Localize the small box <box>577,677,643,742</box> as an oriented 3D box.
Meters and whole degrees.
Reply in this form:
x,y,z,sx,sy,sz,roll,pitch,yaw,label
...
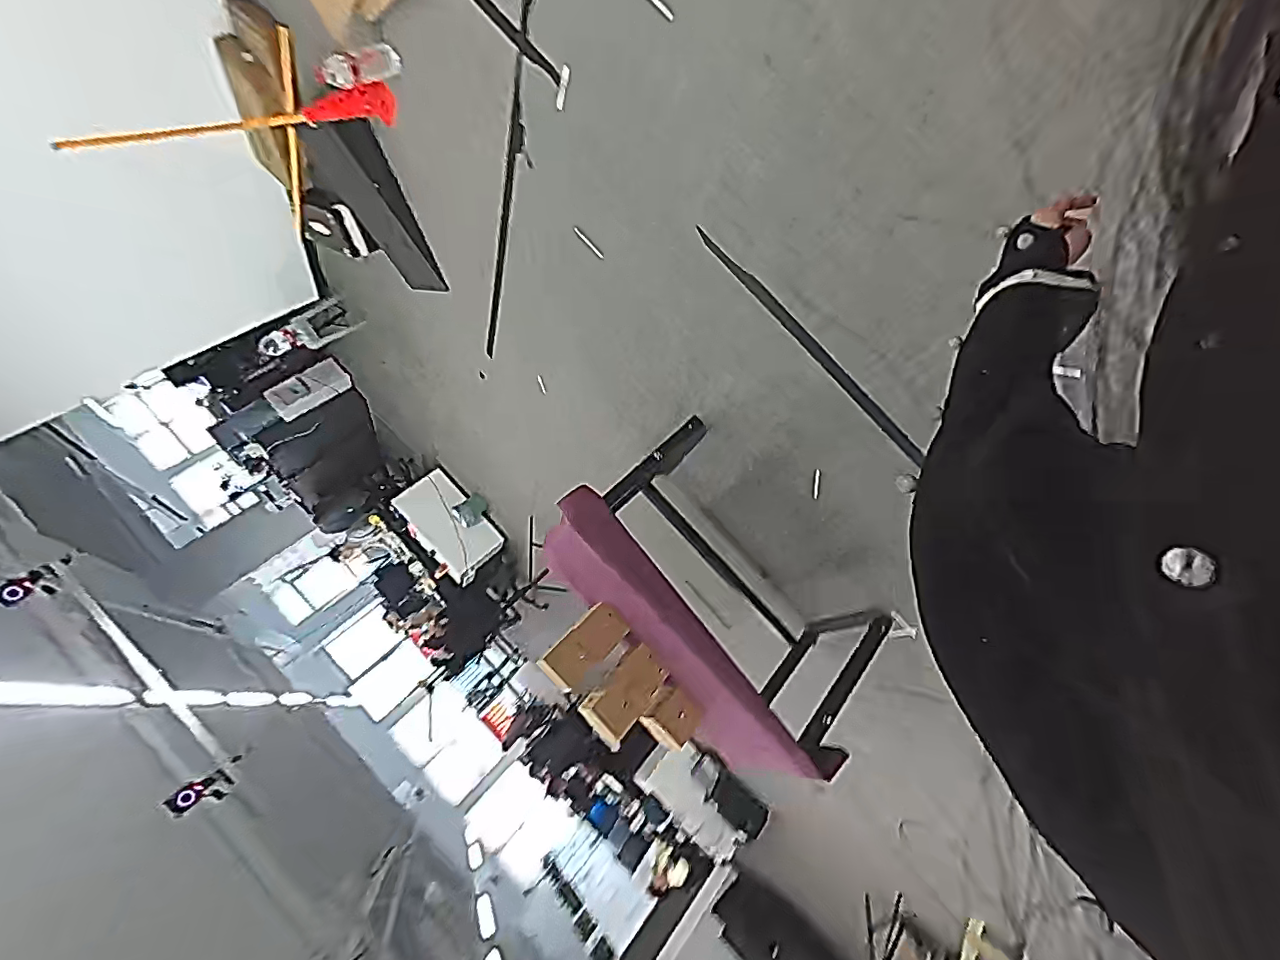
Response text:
x,y,z,sx,sy,sz,roll,pitch,yaw,label
-0.115,0.890,2.117,0.168,0.176,0.179,48,150,1,small box

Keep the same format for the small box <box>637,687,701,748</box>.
x,y,z,sx,sy,sz,roll,pitch,yaw,label
0.125,0.975,2.227,0.168,0.176,0.179,48,149,2,small box

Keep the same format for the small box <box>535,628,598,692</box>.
x,y,z,sx,sy,sz,roll,pitch,yaw,label
-0.291,0.714,2.146,0.168,0.176,0.179,45,150,4,small box

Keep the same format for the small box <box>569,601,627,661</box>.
x,y,z,sx,sy,sz,roll,pitch,yaw,label
-0.179,0.622,2.219,0.168,0.176,0.179,47,150,2,small box

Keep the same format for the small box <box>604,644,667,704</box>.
x,y,z,sx,sy,sz,roll,pitch,yaw,label
-0.016,0.784,2.192,0.168,0.176,0.179,47,151,3,small box
